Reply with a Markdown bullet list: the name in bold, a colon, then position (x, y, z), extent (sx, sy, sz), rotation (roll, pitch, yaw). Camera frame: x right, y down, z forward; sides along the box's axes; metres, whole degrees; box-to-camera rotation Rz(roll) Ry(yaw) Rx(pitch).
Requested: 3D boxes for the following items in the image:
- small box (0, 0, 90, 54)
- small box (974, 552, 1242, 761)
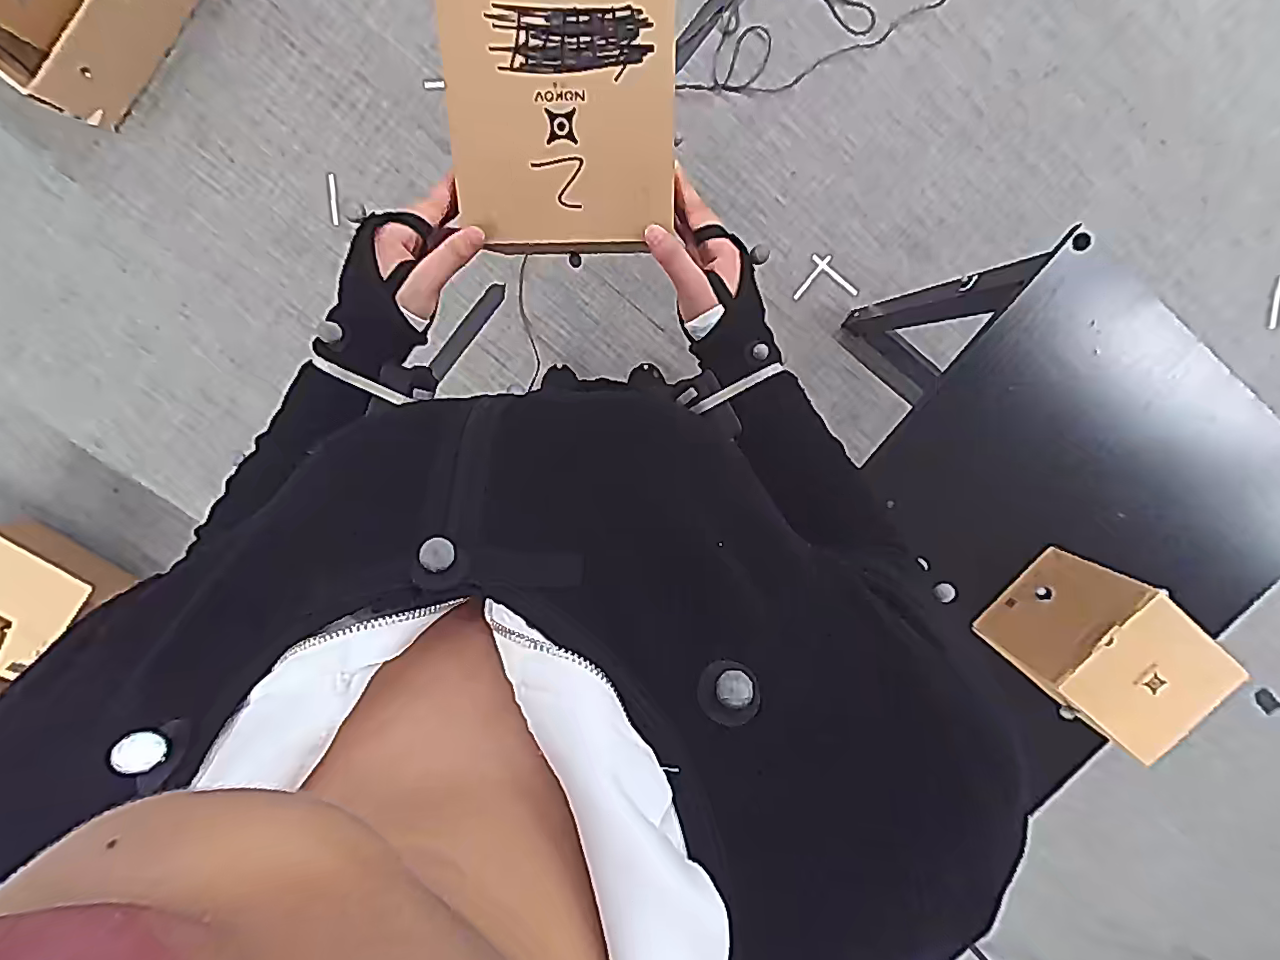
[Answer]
- **small box**: position (-1.348, -1.072, 1.145), extent (0.168, 0.176, 0.179), rotation (39, 96, -10)
- **small box**: position (0.612, 0.224, 0.732), extent (0.179, 0.176, 0.168), rotation (39, 97, -7)
